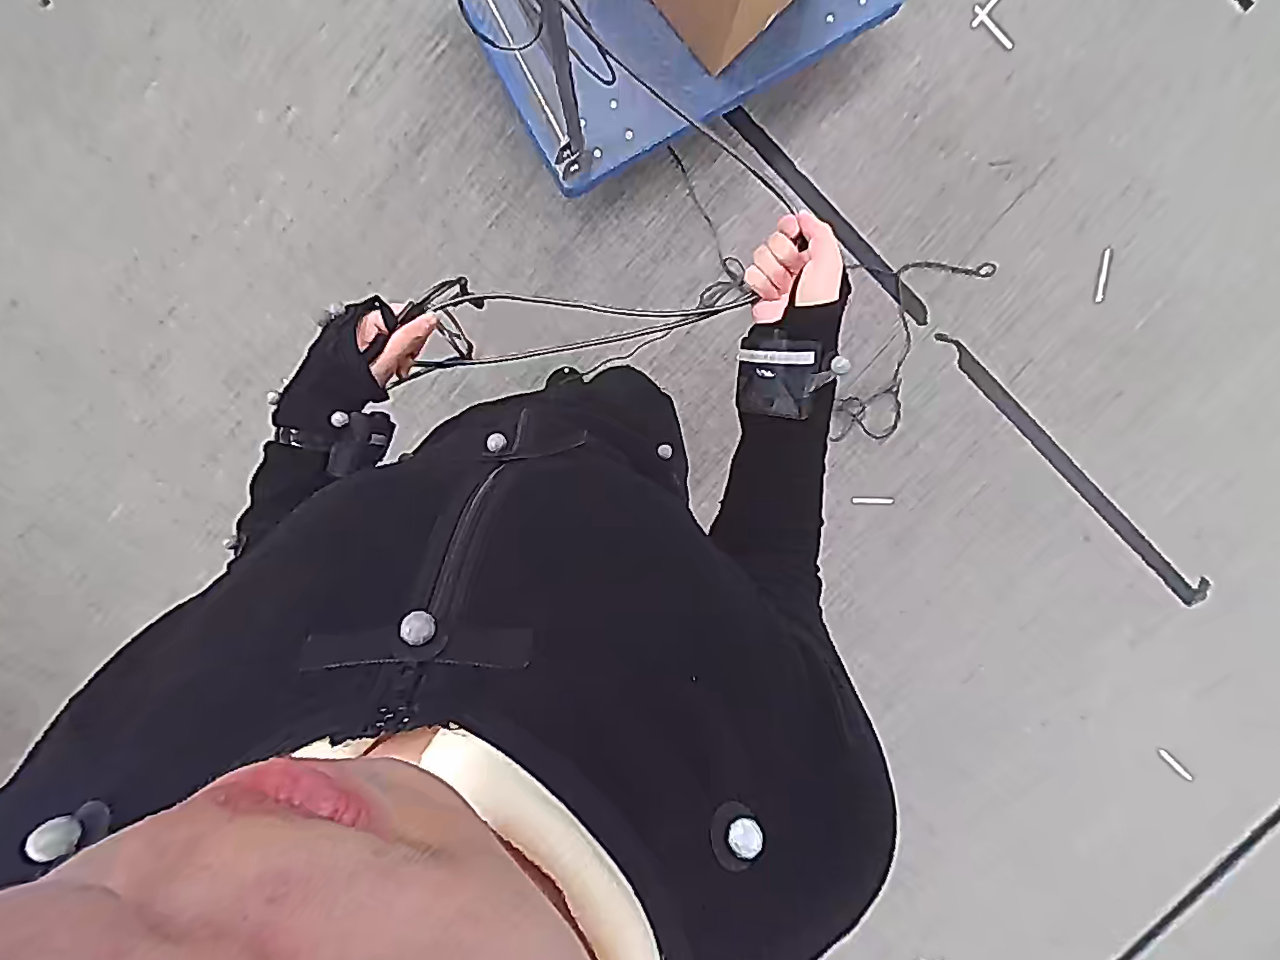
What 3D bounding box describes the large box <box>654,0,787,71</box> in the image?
[{"bbox_3d":[0.142,-1.093,0.979,0.320,0.320,0.408,-43,100,5],"label":"large box"}]
